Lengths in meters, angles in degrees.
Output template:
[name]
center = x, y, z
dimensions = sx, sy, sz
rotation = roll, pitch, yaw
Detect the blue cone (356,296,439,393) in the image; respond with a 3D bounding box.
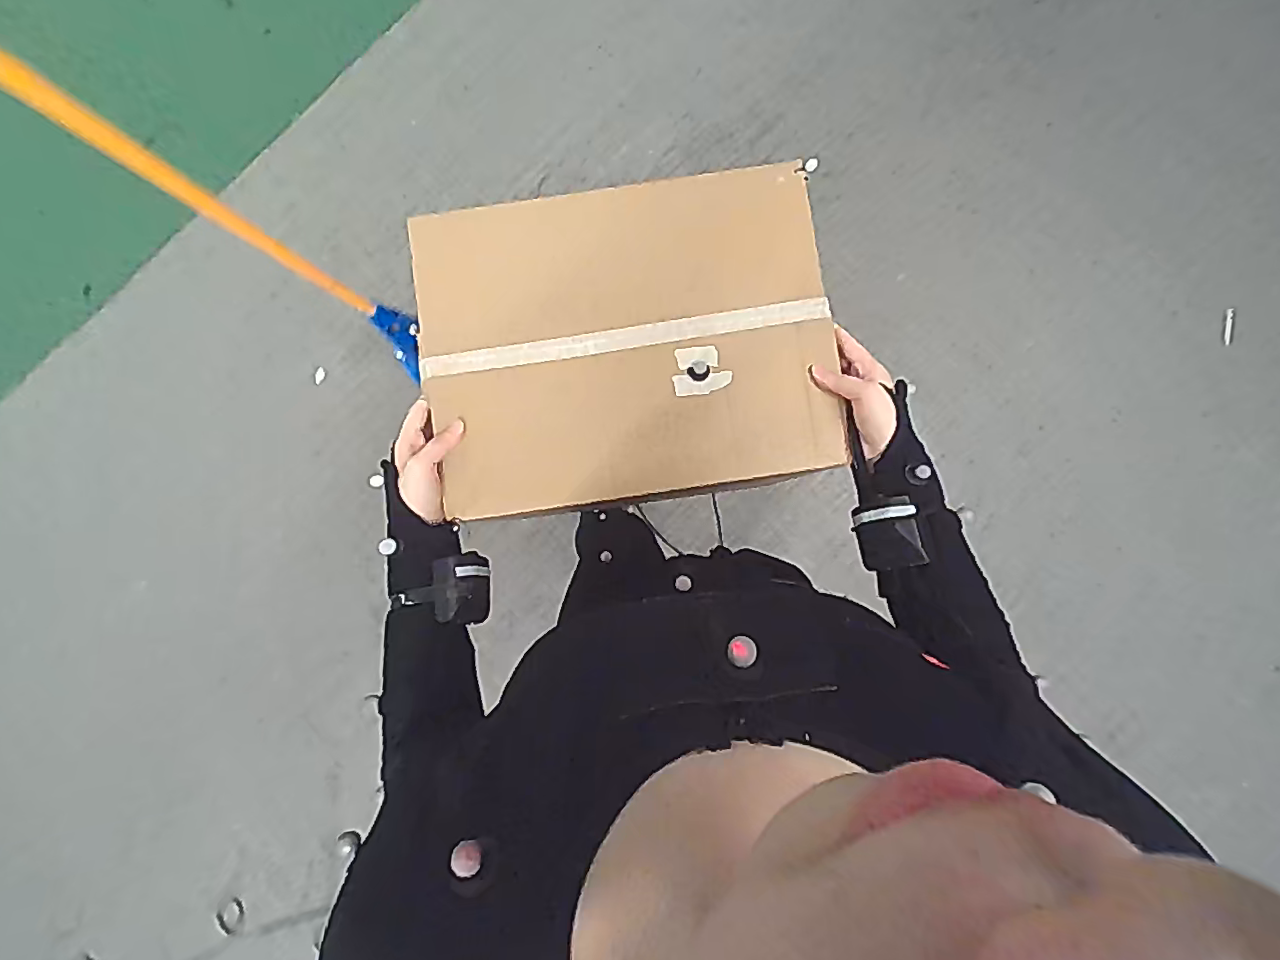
[blue cone]
center = -0.607, -0.375, 1.396
dimensions = 0.193, 0.380, 0.192
rotation = -35, 85, 0

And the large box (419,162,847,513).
[large box]
center = -0.012, -0.139, 0.693
dimensions = 0.408, 0.320, 0.320
rotation = -8, 87, -1
